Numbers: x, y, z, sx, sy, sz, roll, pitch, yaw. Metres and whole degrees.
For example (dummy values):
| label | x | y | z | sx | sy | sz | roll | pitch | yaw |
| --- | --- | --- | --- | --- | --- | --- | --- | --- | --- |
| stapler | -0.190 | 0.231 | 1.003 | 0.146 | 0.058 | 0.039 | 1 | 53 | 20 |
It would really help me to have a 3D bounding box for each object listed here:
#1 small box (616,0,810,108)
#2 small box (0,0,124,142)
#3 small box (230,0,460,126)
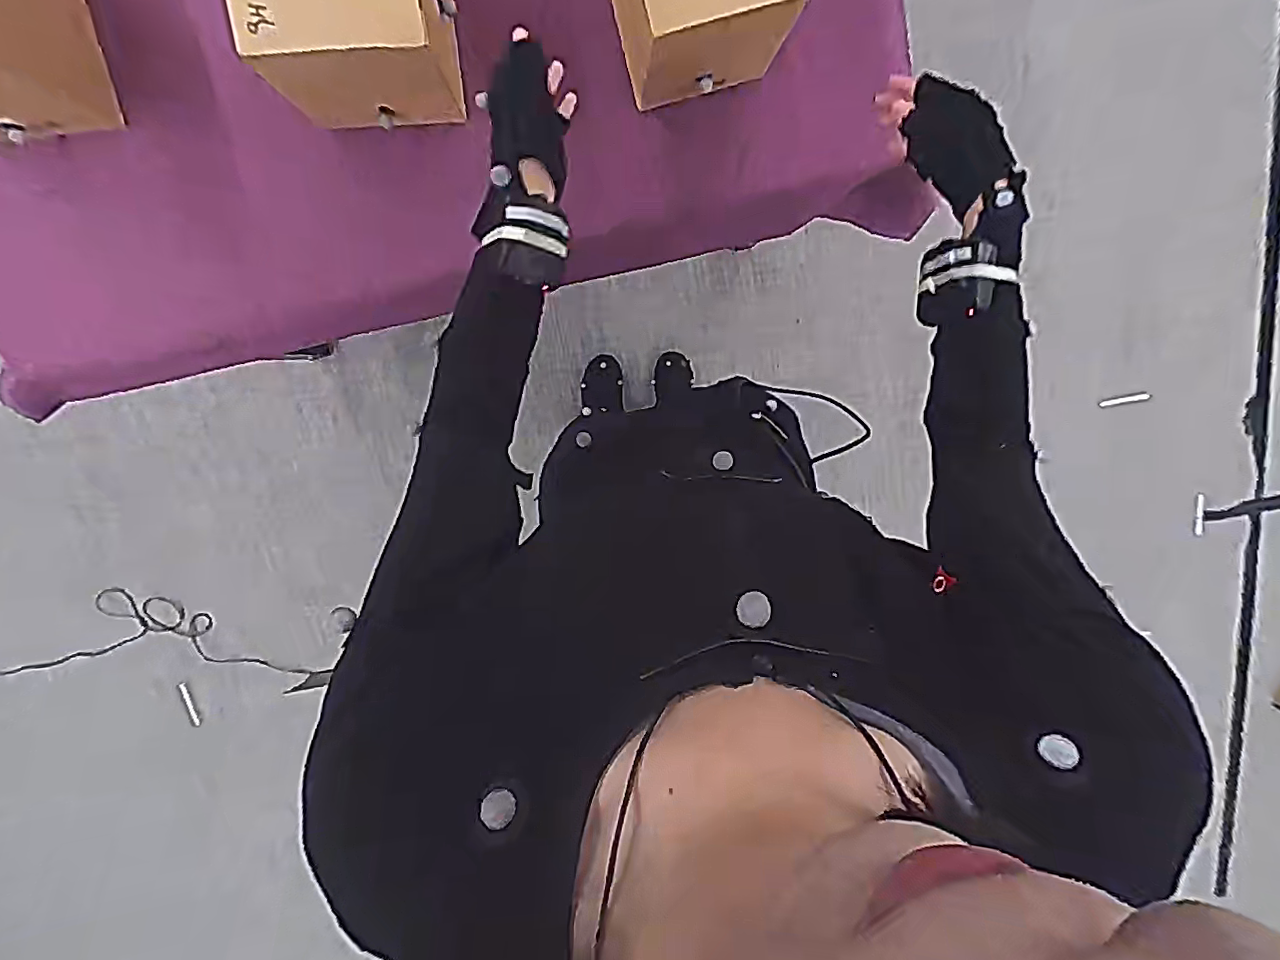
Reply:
| label | x | y | z | sx | sy | sz | roll | pitch | yaw |
| --- | --- | --- | --- | --- | --- | --- | --- | --- | --- |
| small box | 0.064 | -0.548 | 0.582 | 0.168 | 0.176 | 0.179 | -16 | 104 | -1 |
| small box | -0.685 | -0.470 | 0.535 | 0.168 | 0.176 | 0.179 | -9 | 104 | -2 |
| small box | -0.296 | -0.495 | 0.563 | 0.179 | 0.176 | 0.168 | -6 | 102 | -5 |
